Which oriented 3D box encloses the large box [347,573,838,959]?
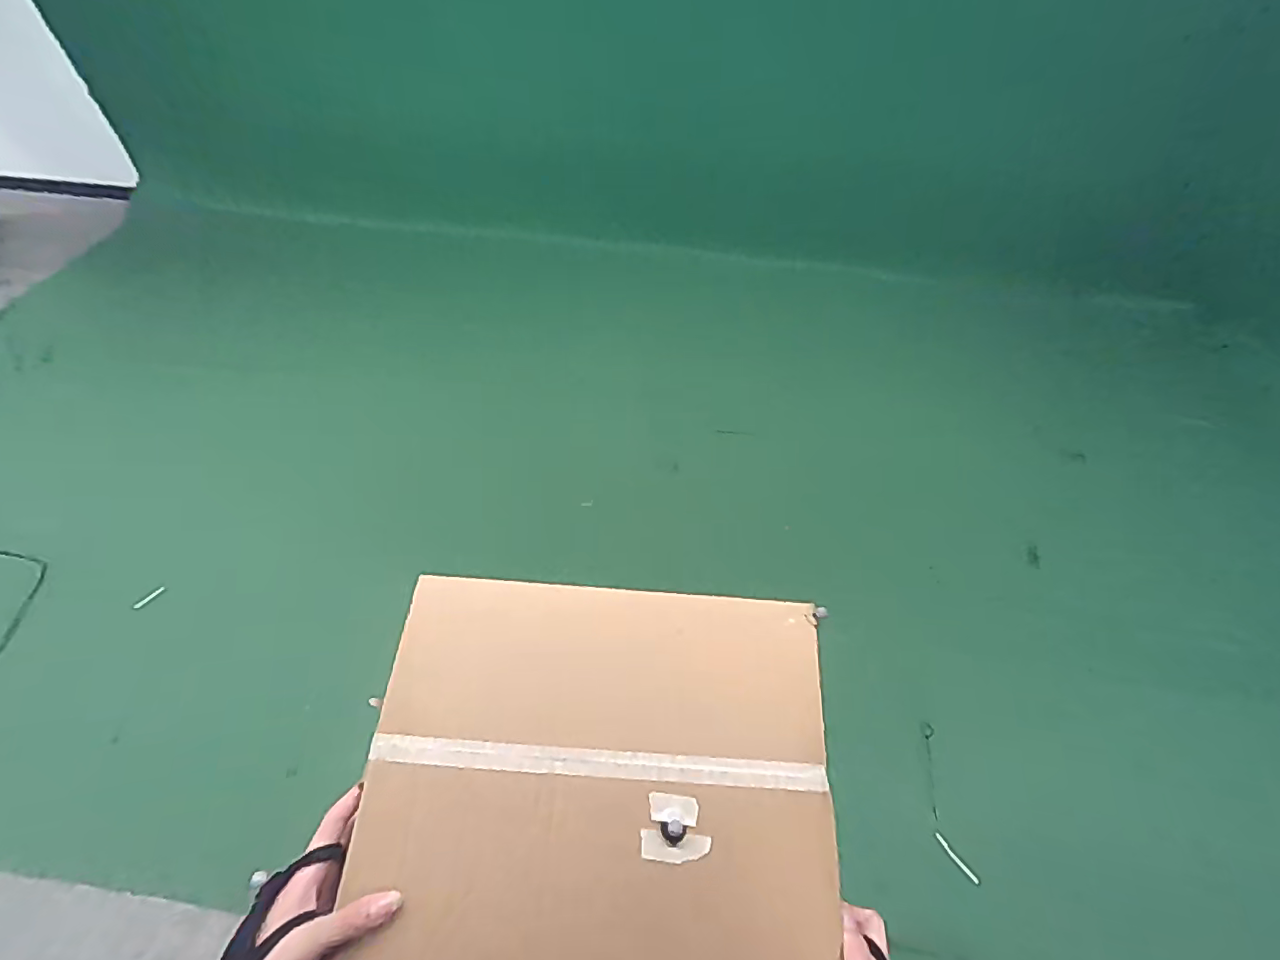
[{"bbox_3d":[-0.037,0.313,0.630,0.408,0.320,0.320,4,64,-1],"label":"large box"}]

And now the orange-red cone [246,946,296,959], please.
[{"bbox_3d":[-0.778,1.001,0.981,0.199,0.360,0.198,12,51,10],"label":"orange-red cone"}]
